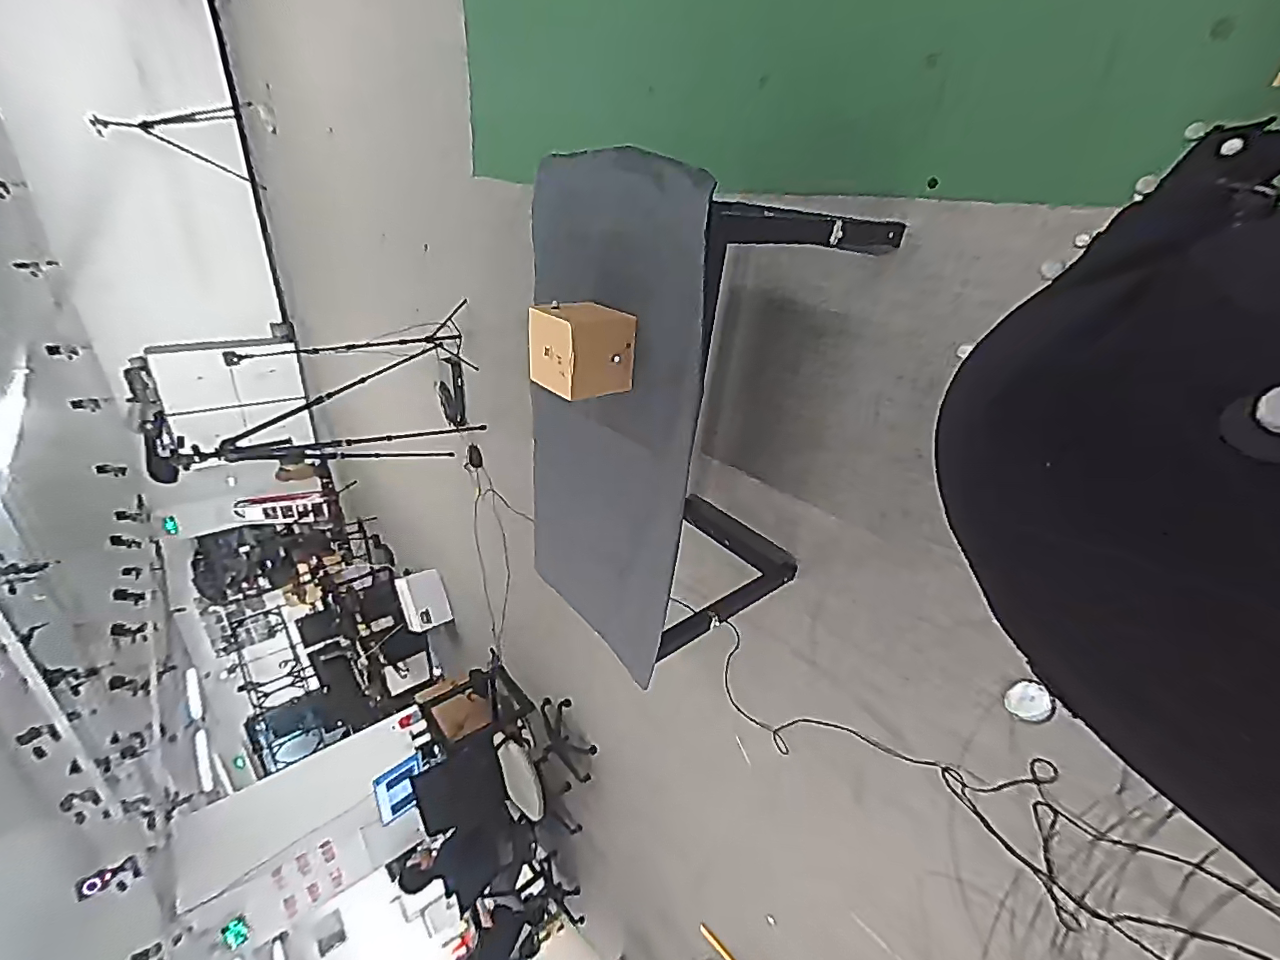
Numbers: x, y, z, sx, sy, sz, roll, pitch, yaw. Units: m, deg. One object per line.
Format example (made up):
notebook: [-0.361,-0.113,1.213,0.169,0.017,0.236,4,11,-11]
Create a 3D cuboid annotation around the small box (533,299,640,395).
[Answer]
small box: [-0.122,-0.303,1.204,0.179,0.176,0.168,32,129,41]
